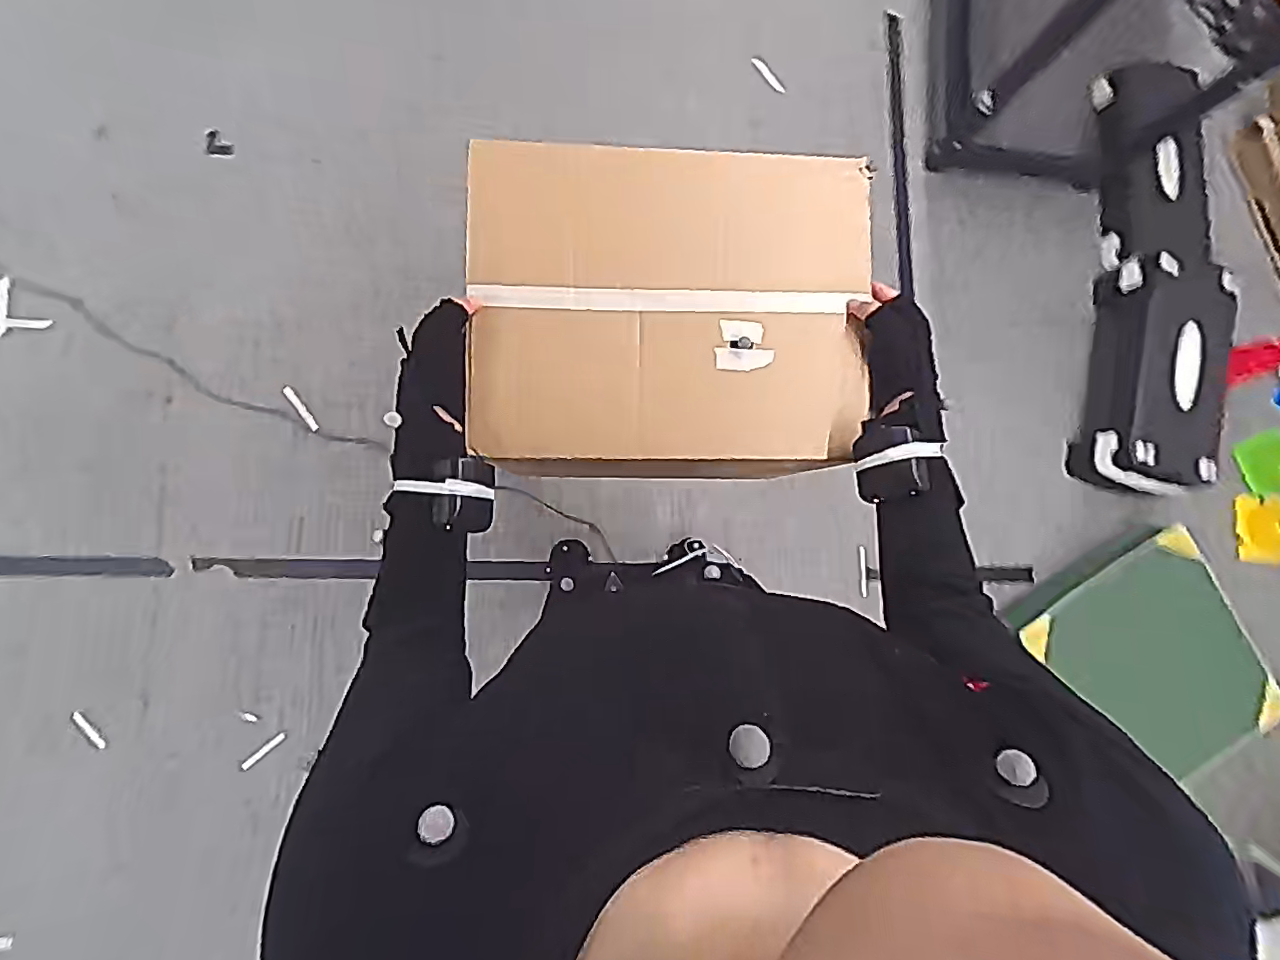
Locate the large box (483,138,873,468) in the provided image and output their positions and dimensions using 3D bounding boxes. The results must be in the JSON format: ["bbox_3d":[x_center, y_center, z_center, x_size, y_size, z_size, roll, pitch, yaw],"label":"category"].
[{"bbox_3d":[0.030,-0.180,0.695,0.408,0.320,0.320,1,88,-5],"label":"large box"}]
